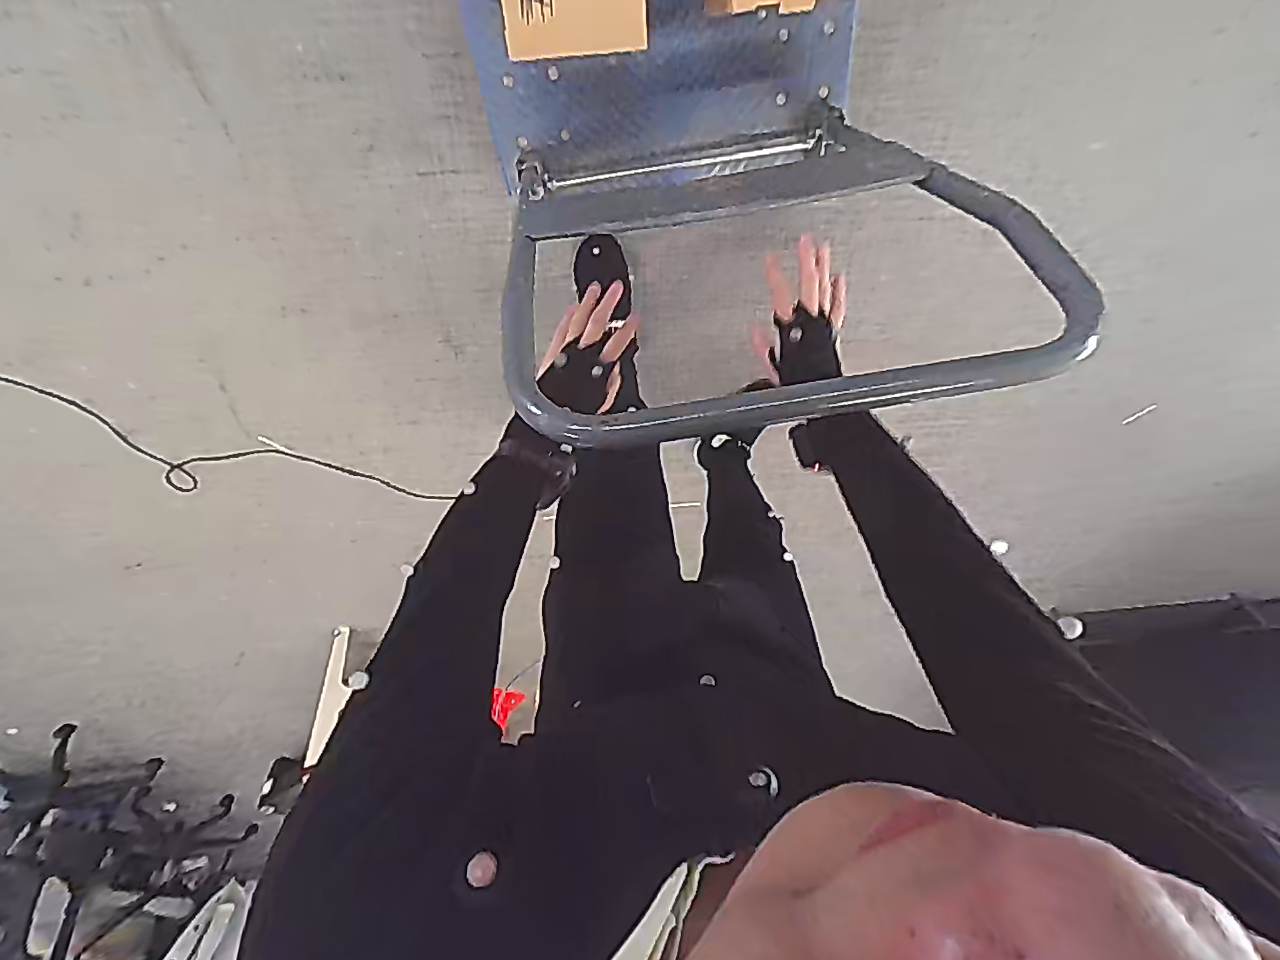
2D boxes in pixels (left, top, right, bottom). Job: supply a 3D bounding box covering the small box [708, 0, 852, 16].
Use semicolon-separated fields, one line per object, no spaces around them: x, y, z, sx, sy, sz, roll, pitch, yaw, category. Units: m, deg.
0.177;-0.700;0.670;0.168;0.176;0.179;-8;131;-1;small box
